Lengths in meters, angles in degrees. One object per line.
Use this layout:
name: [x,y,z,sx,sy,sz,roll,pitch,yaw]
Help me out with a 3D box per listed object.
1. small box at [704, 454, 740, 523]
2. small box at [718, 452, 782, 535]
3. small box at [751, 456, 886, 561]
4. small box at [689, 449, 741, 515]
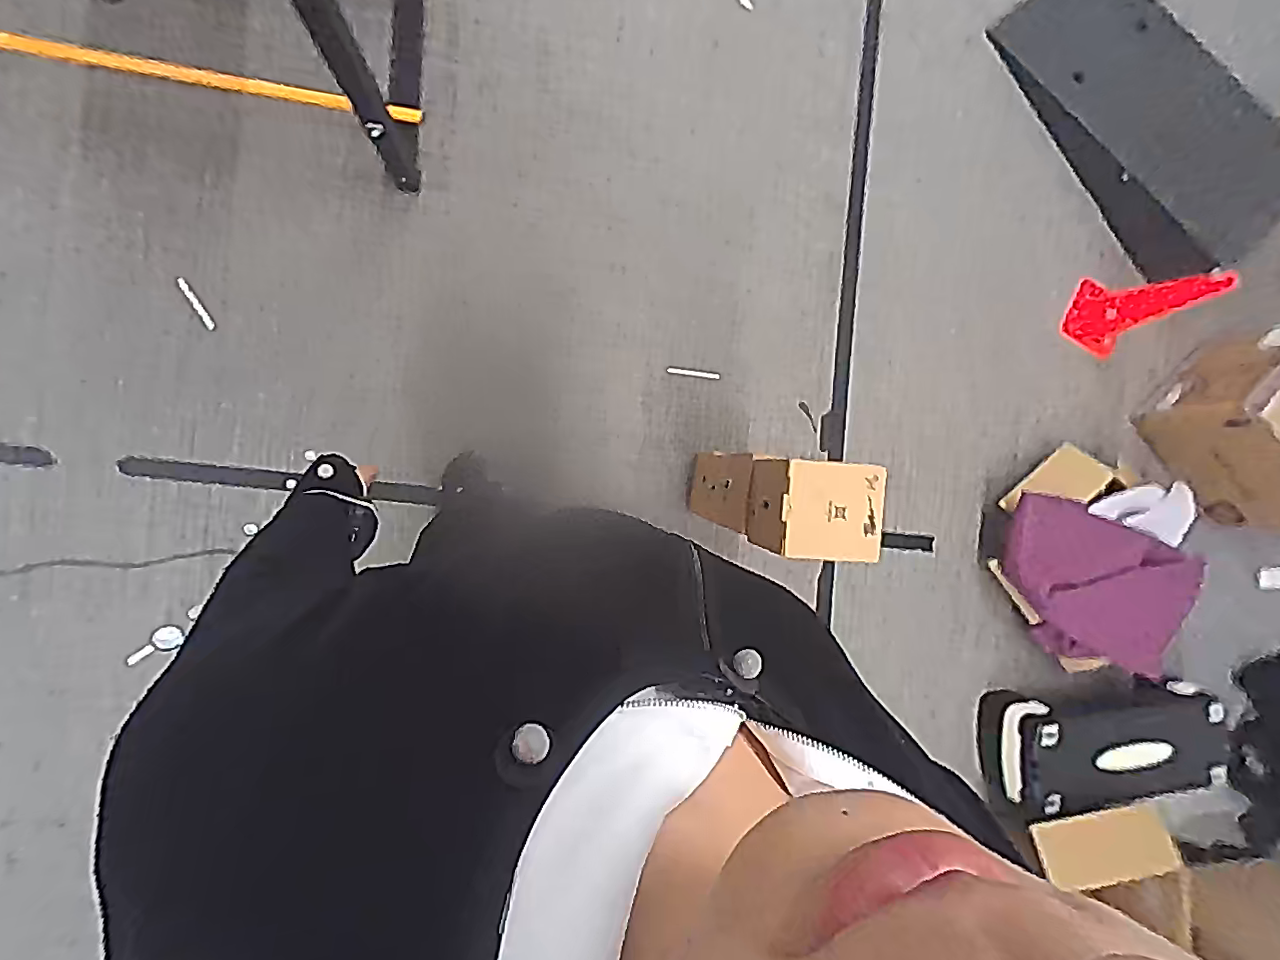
small box: [0.269,0.030,1.305,0.179,0.176,0.168,9,90,-9]
small box: [0.280,0.035,1.143,0.179,0.176,0.168,9,90,-8]
small box: [0.313,0.048,0.982,0.179,0.176,0.168,5,91,-8]
small box: [0.240,0.016,1.467,0.168,0.176,0.179,9,91,-9]
